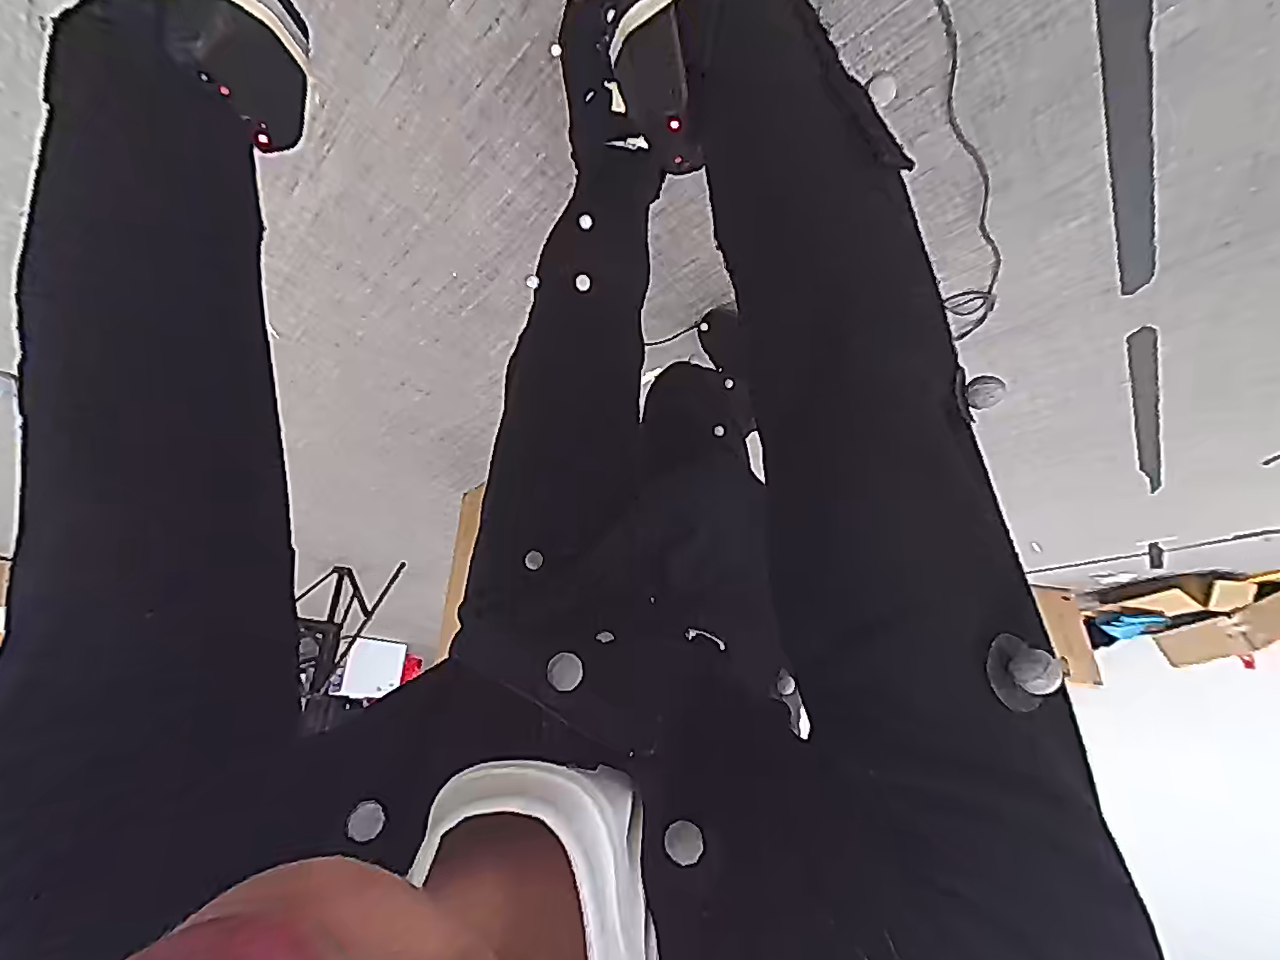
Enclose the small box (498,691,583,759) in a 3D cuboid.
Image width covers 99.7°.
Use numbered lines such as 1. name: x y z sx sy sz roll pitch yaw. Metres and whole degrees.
1. small box: -0.280 0.696 1.536 0.168 0.176 0.179 -23 146 37
